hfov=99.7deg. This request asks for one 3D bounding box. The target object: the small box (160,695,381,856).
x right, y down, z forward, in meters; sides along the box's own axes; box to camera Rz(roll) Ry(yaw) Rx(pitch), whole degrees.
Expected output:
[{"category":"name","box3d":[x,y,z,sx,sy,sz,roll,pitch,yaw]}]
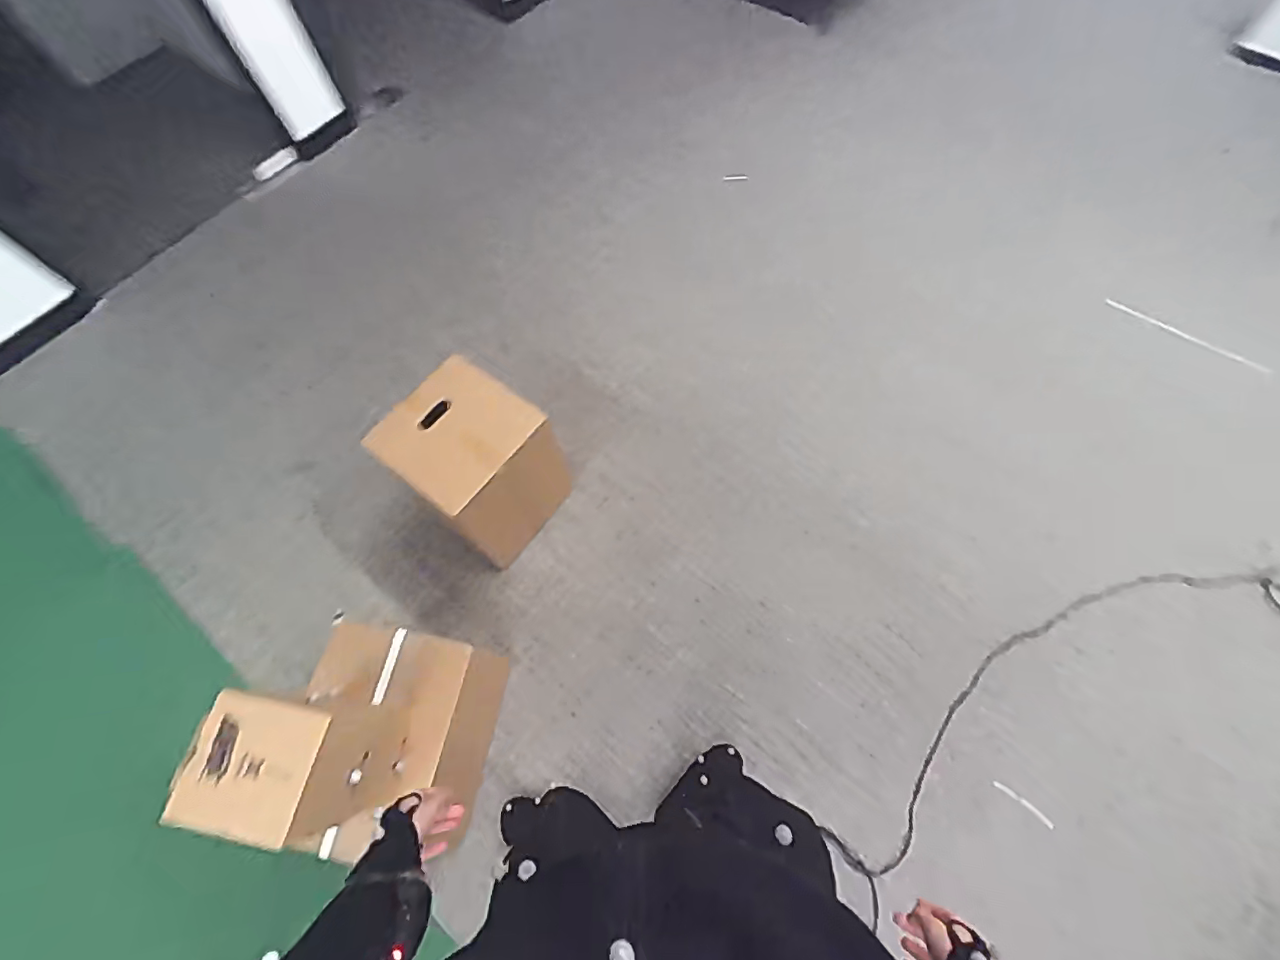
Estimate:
[{"category":"small box","box3d":[-0.528,0.427,0.803,0.179,0.176,0.168,9,68,6]}]

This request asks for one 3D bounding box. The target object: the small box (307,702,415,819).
[{"category":"small box","box3d":[-0.533,0.491,0.954,0.179,0.176,0.168,5,67,5]}]
